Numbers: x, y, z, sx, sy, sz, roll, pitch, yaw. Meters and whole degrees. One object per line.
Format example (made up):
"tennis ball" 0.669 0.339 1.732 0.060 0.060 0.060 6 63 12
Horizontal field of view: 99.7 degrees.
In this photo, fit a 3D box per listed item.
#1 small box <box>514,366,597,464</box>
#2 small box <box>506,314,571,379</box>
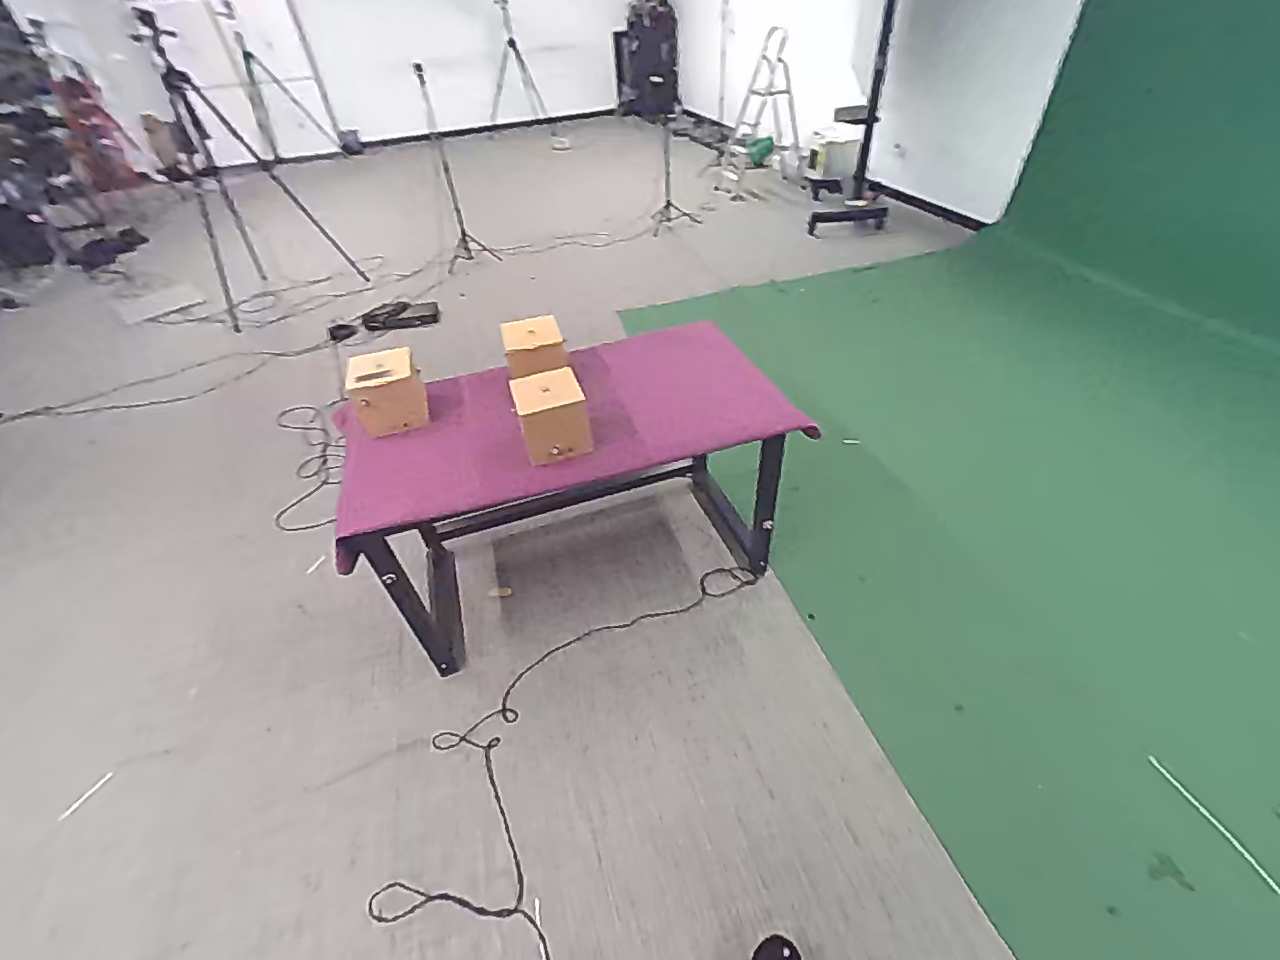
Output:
"small box" -0.221 -0.170 1.417 0.168 0.176 0.179 -16 43 -9
"small box" -0.305 -0.380 1.652 0.168 0.176 0.179 -14 46 -8
